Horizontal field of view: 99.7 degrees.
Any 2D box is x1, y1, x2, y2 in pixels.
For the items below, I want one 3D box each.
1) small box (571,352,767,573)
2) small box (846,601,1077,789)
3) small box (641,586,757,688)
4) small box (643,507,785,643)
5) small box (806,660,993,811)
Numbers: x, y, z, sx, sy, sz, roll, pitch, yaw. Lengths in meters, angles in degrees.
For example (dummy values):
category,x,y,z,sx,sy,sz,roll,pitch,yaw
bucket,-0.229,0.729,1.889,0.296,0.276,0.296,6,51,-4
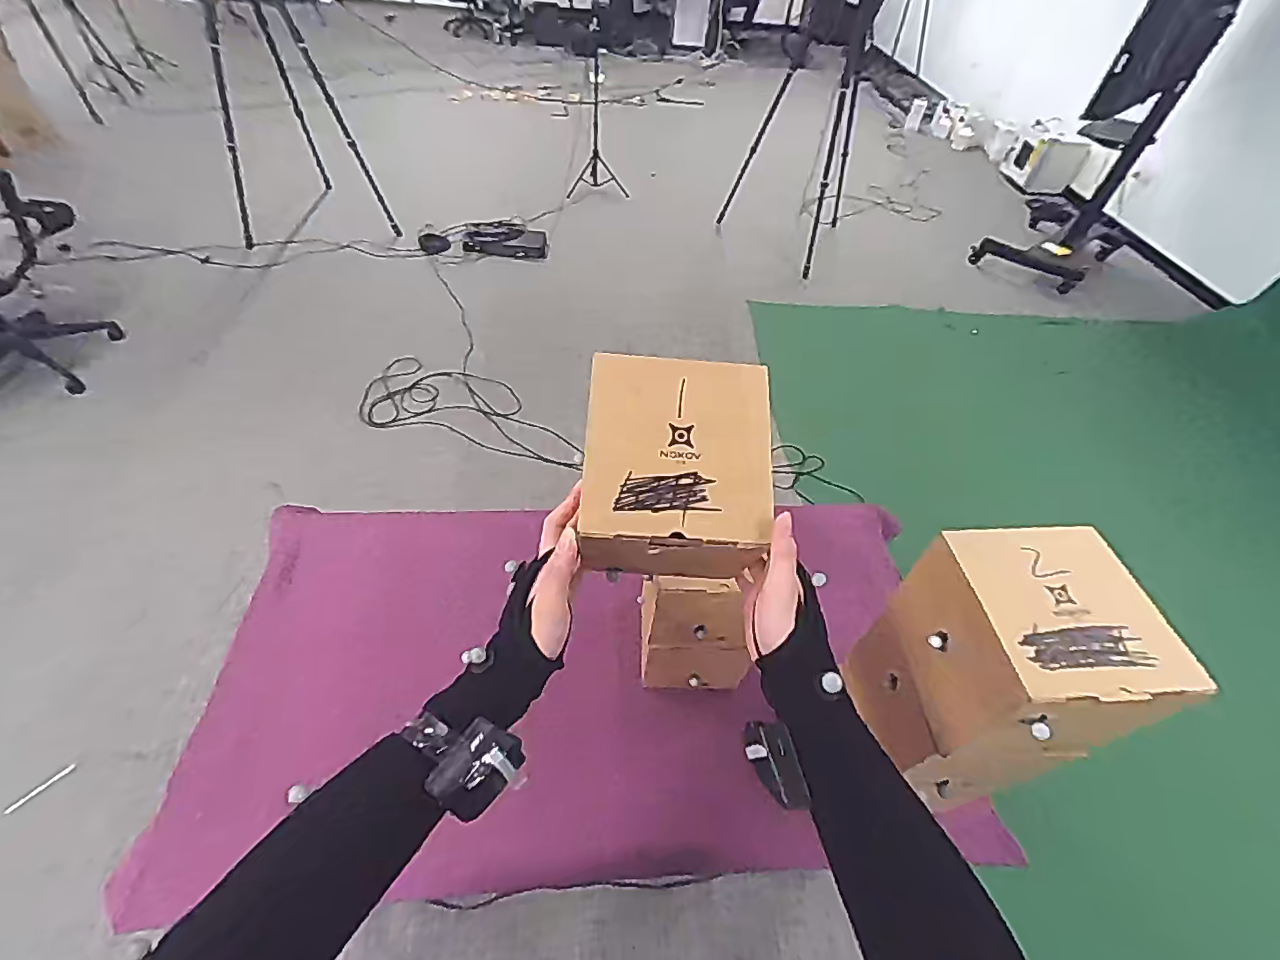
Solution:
category,x,y,z,sx,sy,sz,roll,pitch,yaw
small box,0.025,-0.005,0.547,0.168,0.176,0.179,4,70,-3
small box,0.382,0.274,0.688,0.168,0.176,0.179,2,49,-2
small box,0.089,0.231,0.913,0.168,0.176,0.179,3,50,-3
small box,0.093,0.123,0.792,0.168,0.176,0.179,1,51,-5
small box,0.370,0.384,0.809,0.179,0.176,0.168,2,48,-3
